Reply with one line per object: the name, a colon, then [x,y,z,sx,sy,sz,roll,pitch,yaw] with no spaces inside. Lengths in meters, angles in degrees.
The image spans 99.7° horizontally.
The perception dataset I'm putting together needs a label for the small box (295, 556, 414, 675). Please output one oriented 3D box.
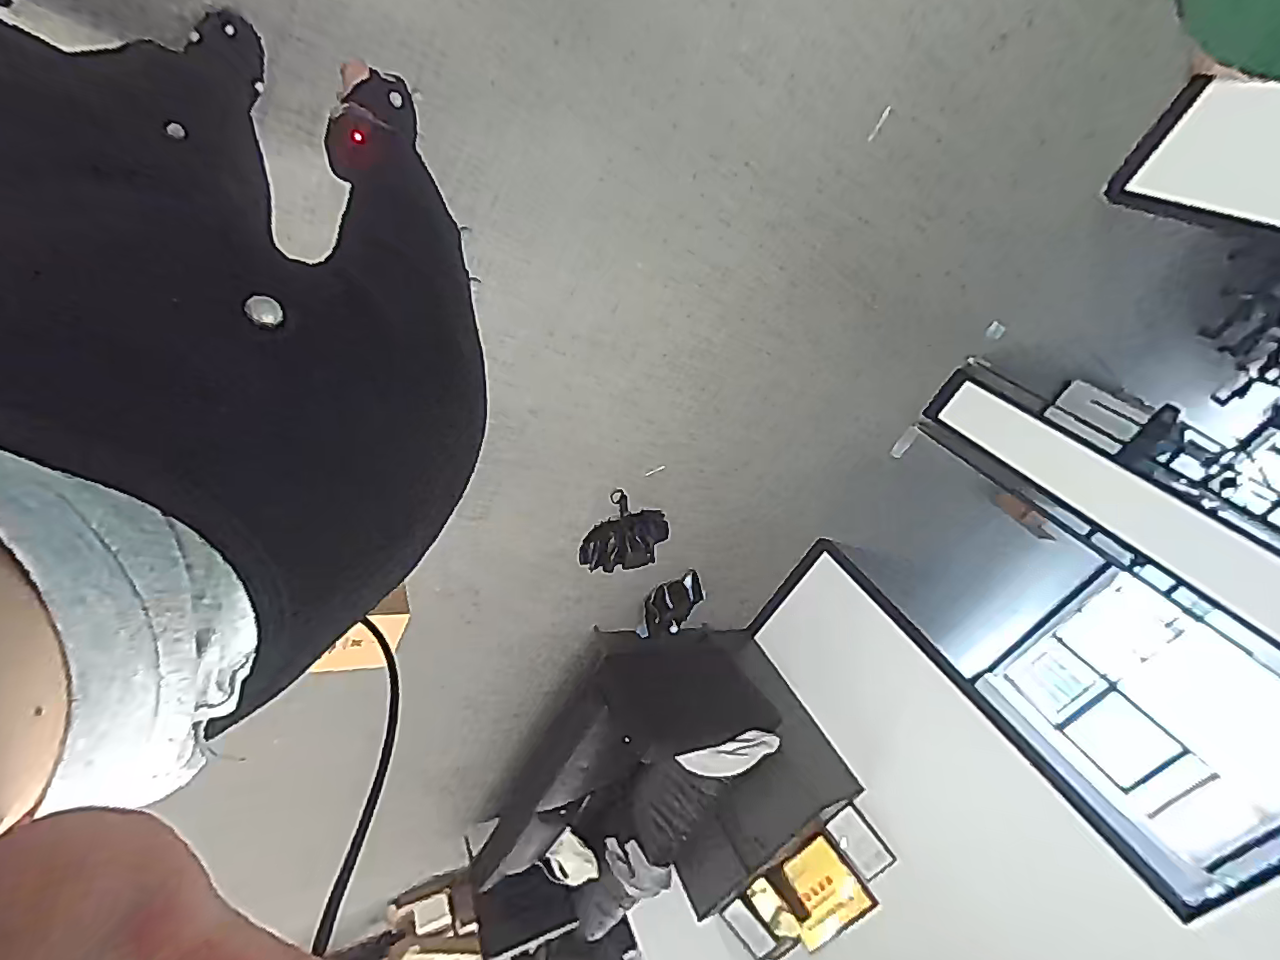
small box: [-0.585,0.269,1.098,0.179,0.176,0.168,10,122,-39]
